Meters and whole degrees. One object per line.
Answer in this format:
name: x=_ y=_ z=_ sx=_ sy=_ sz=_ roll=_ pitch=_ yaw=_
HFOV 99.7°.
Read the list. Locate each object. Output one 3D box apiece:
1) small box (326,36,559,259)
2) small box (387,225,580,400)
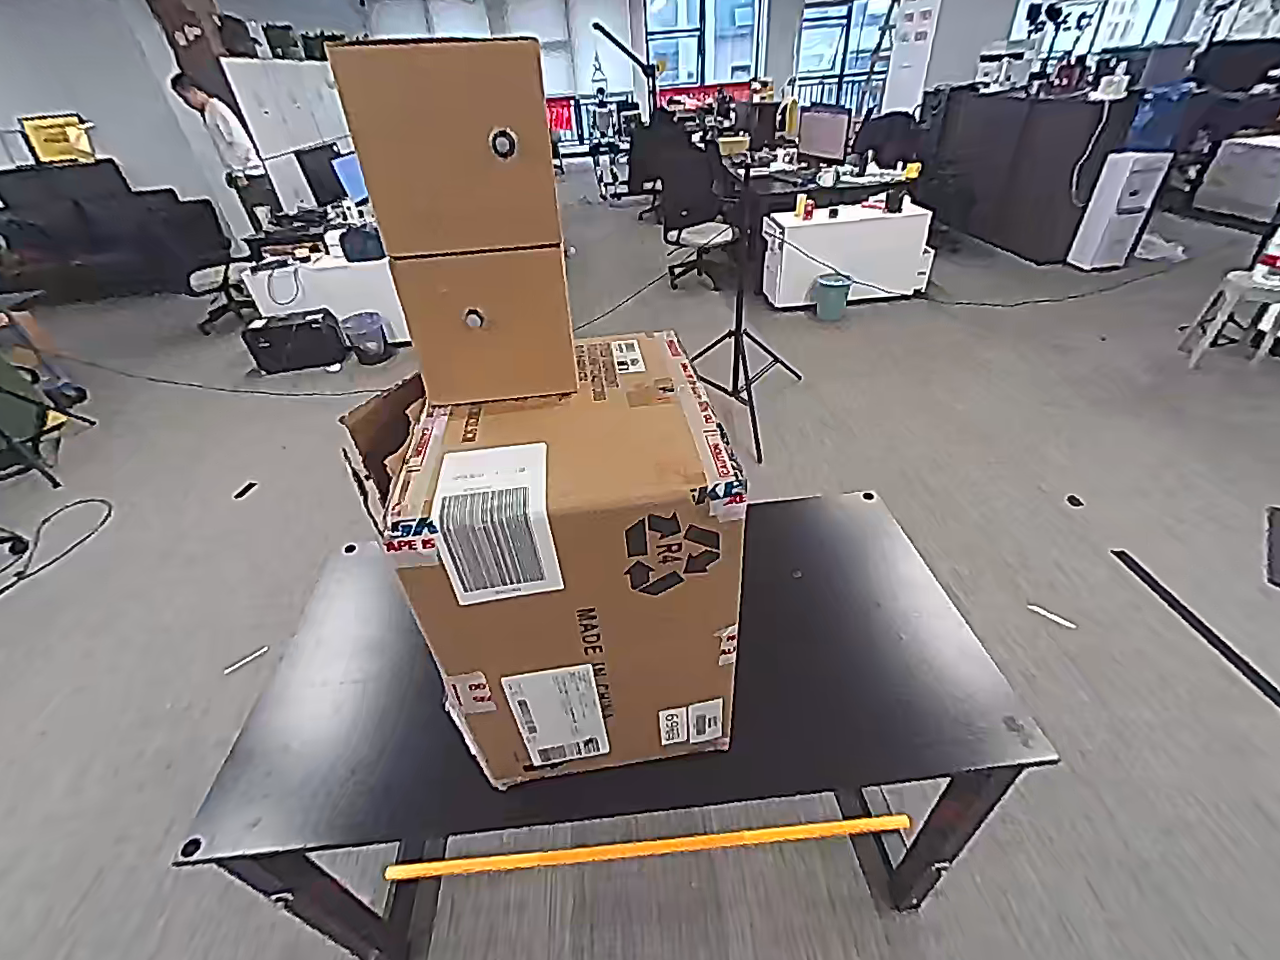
small box: x=-0.180 y=-0.338 z=0.558 sx=0.179 sy=0.176 sz=0.168 roll=-9 pitch=34 yaw=-7
small box: x=-0.173 y=-0.207 z=0.655 sx=0.179 sy=0.176 sz=0.168 roll=-7 pitch=35 yaw=-5
